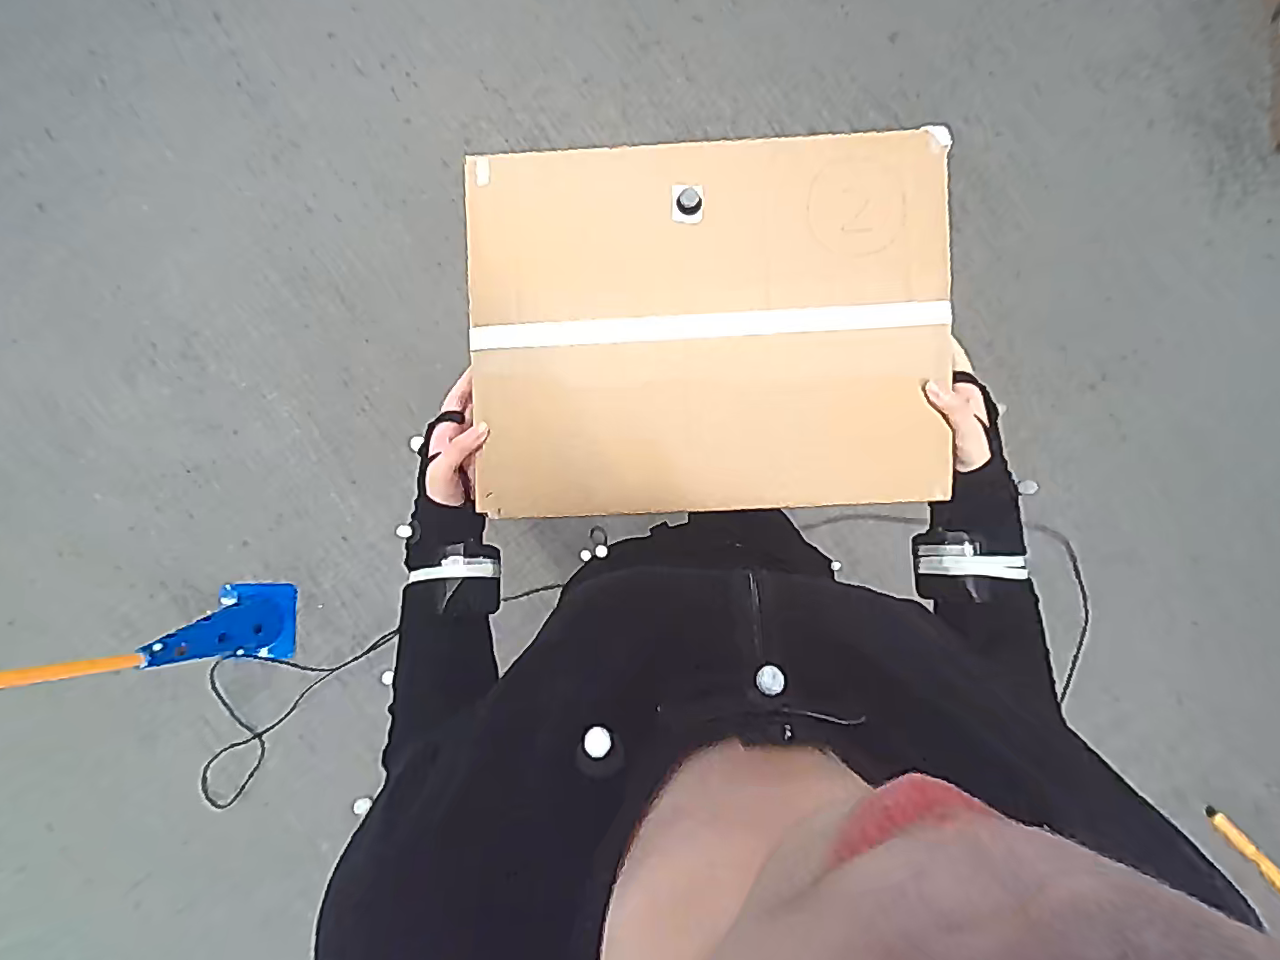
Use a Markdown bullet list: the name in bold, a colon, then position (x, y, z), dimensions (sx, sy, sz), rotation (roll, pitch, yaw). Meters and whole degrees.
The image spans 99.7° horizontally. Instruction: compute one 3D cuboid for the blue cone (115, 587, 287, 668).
- **blue cone**: position (-1.007, 0.369, 1.236), dimensions (0.193, 0.380, 0.192), rotation (-2, 87, -1)
